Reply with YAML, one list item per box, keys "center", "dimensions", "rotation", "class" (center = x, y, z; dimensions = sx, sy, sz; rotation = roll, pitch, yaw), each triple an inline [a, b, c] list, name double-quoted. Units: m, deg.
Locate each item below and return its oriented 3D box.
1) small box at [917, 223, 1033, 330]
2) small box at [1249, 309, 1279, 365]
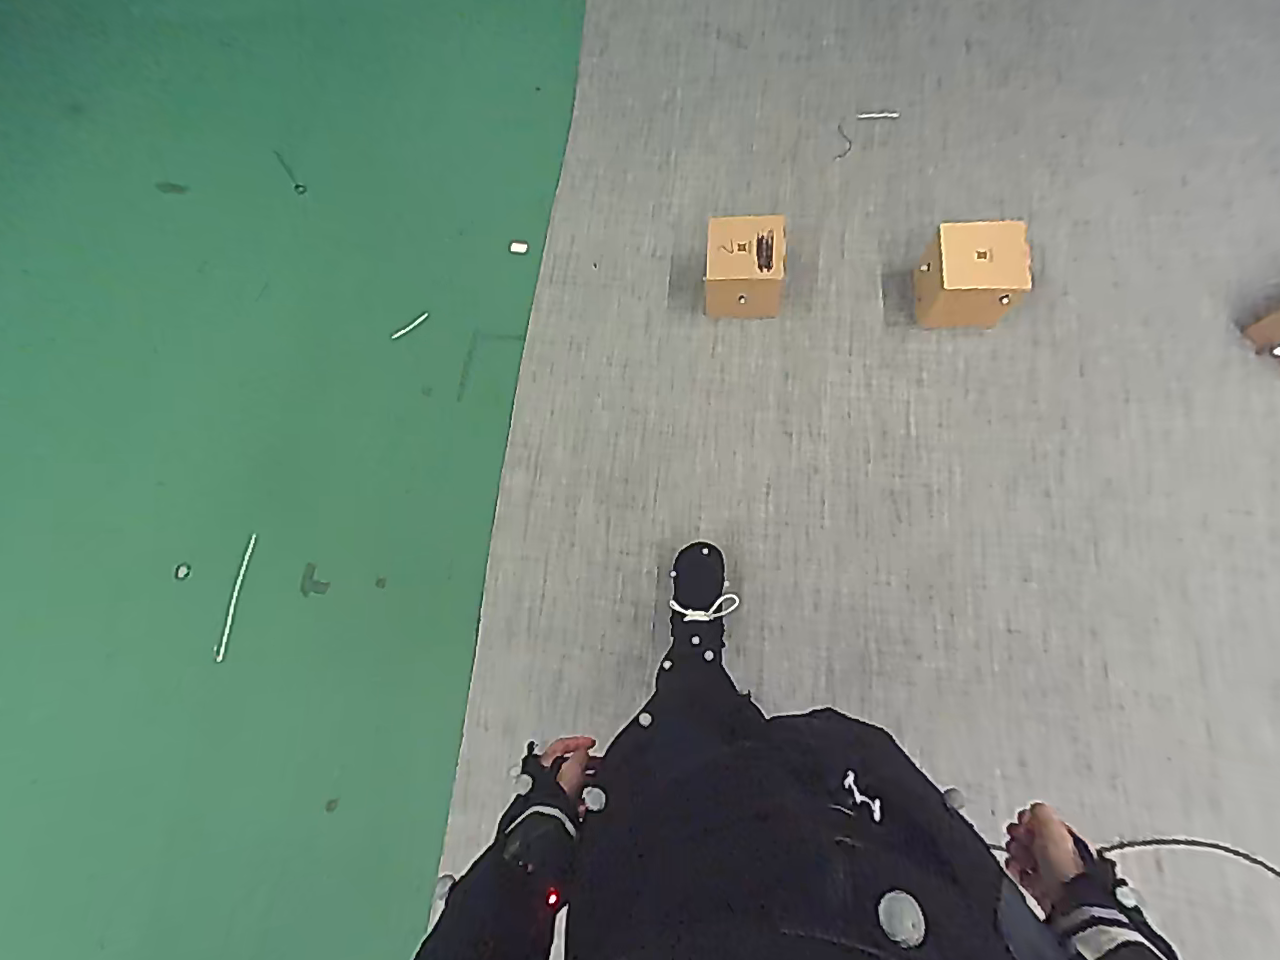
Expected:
- center: [0.745, -0.454, 1.226]
  dimensions: [0.179, 0.176, 0.168]
  rotation: [2, 76, 8]
  class: "small box"
- center: [1.439, -0.327, 1.100]
  dimensions: [0.179, 0.176, 0.168]
  rotation: [-37, 73, -2]
  class: "small box"
